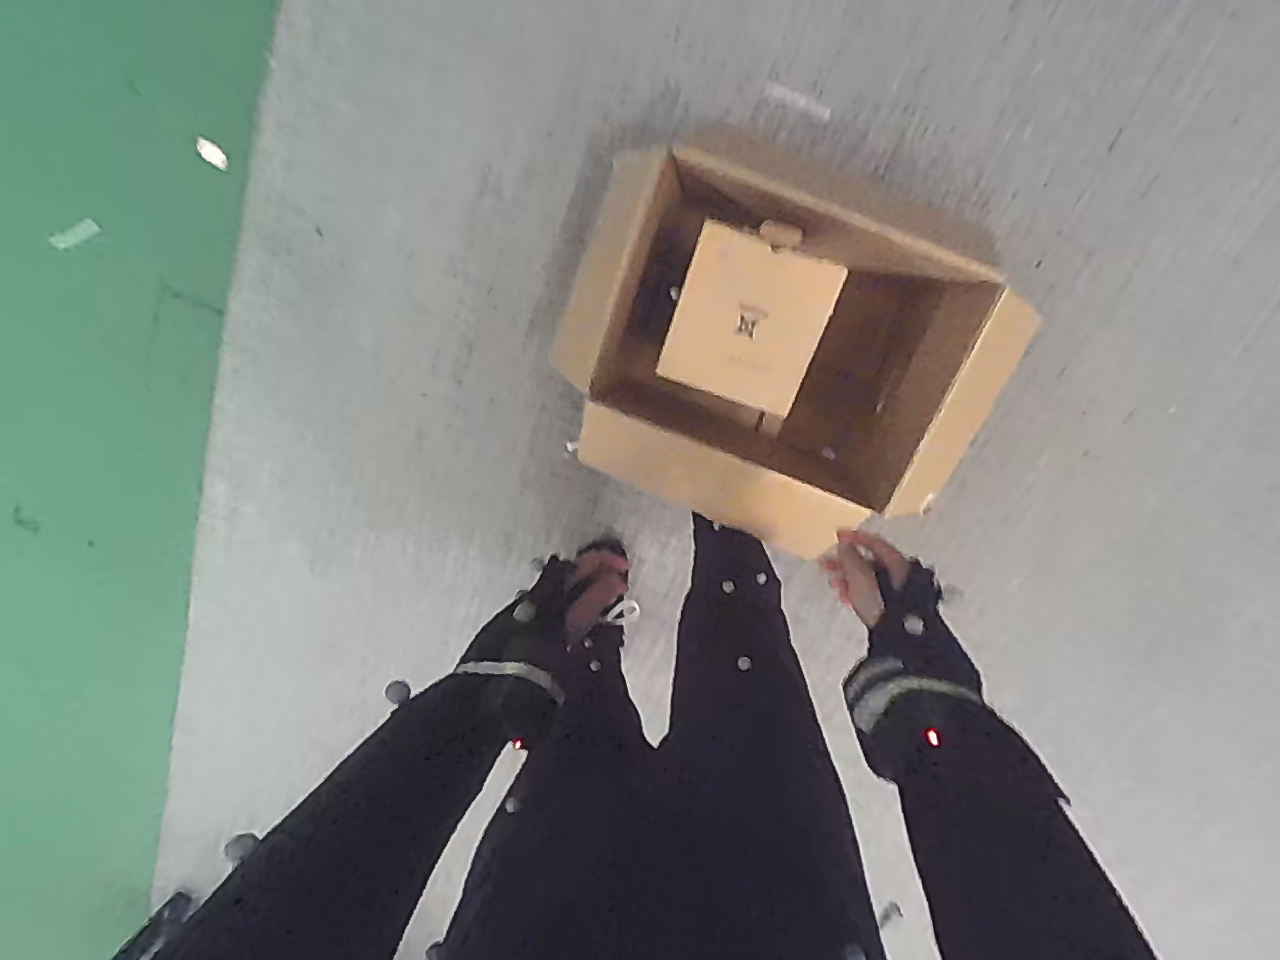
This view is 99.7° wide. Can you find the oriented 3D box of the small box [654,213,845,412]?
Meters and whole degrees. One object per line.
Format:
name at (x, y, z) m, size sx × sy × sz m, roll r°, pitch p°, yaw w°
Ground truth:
small box at (0.127, -0.208, 0.681) m, size 0.168 × 0.176 × 0.179 m, roll 20°, pitch 110°, yaw 1°
